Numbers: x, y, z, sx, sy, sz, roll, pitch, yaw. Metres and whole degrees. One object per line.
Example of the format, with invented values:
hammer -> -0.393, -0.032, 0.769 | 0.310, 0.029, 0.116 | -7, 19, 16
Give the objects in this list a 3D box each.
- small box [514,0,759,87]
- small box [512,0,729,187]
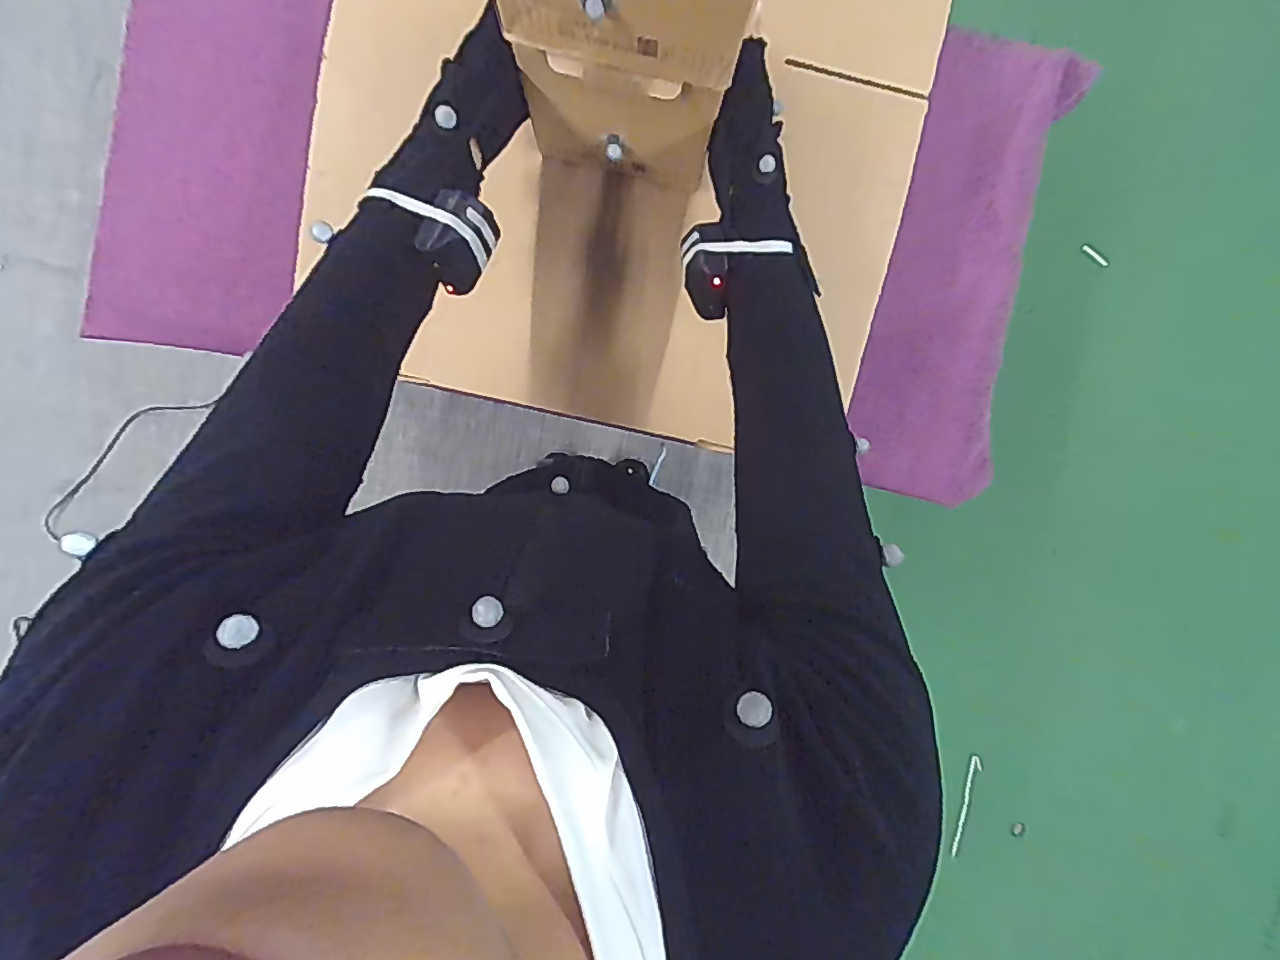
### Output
small box -> 0.007, -0.381, 0.308 | 0.168, 0.176, 0.179 | 11, 93, -3
small box -> 0.002, -0.397, 0.470 | 0.168, 0.176, 0.179 | 13, 92, -2
